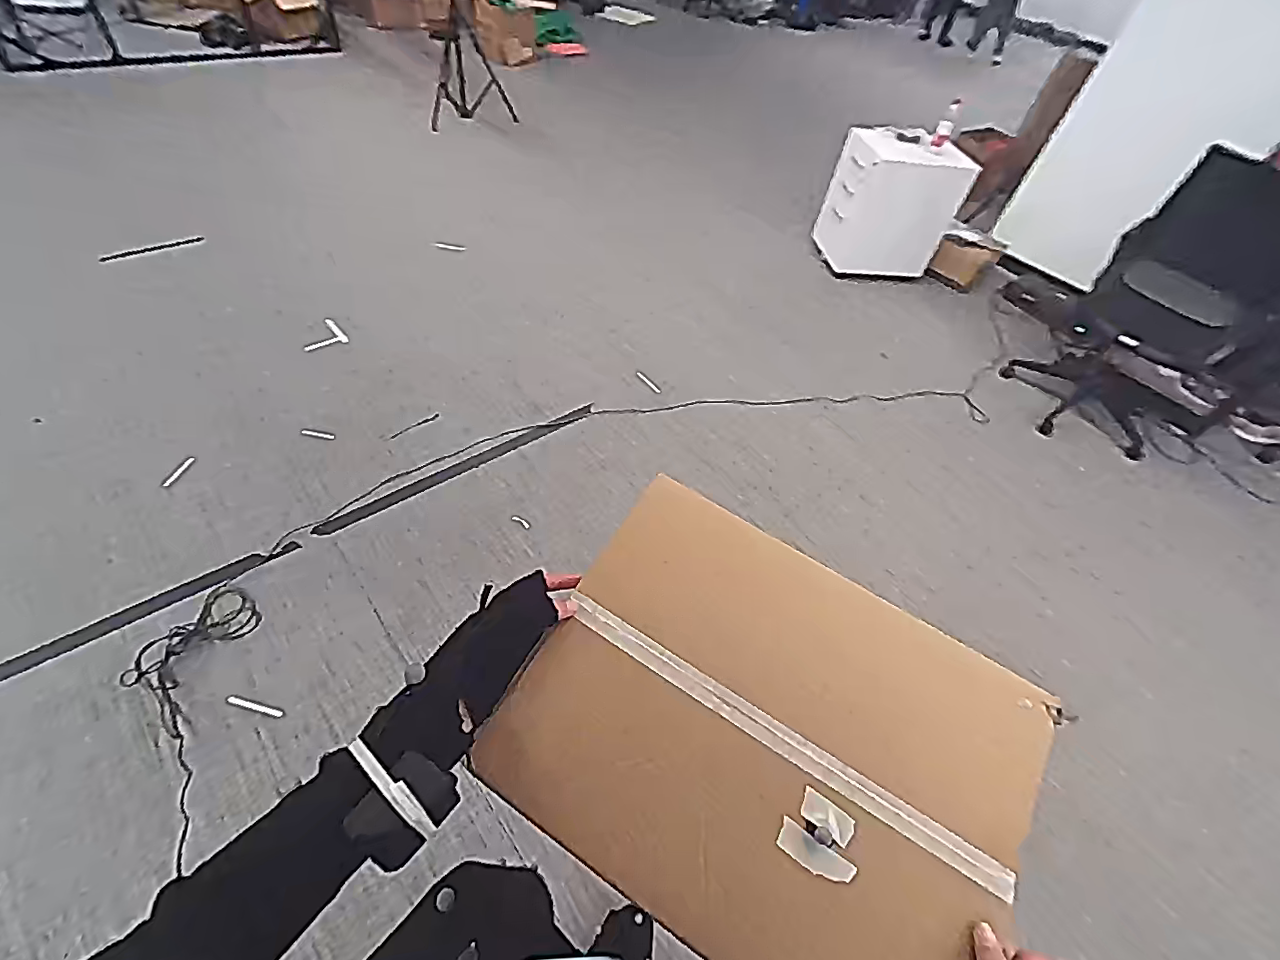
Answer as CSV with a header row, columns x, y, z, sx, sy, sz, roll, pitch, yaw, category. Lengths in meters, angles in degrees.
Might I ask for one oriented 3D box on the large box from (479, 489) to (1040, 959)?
x,y,z,sx,sy,sz,roll,pitch,yaw,category
0.105,0.279,0.597,0.408,0.320,0.320,30,68,13,large box
